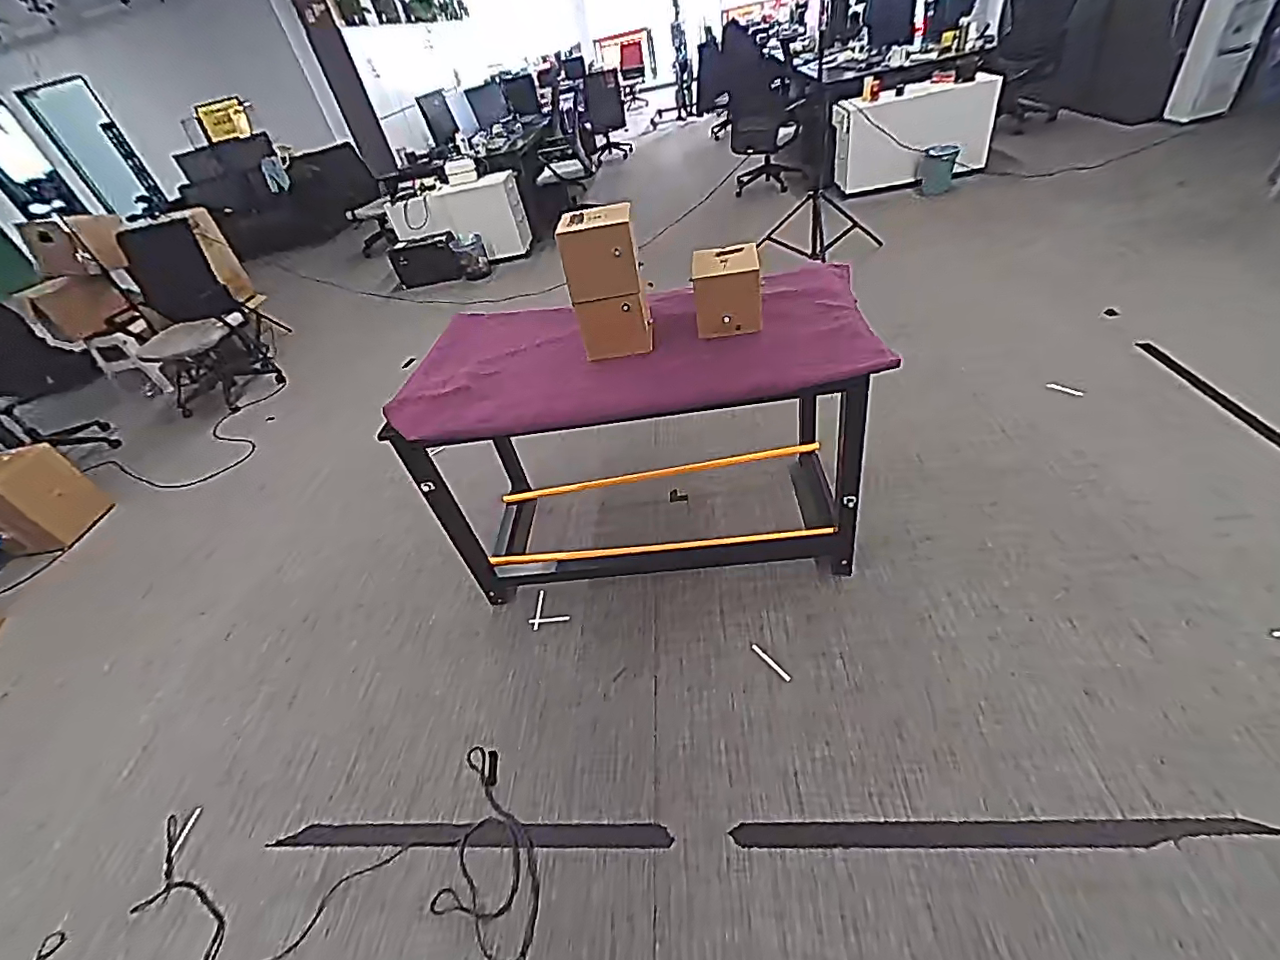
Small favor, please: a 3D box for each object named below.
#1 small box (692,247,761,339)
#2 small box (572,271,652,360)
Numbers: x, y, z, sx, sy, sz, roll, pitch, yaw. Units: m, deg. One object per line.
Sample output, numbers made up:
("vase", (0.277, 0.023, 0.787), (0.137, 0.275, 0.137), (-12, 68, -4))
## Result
("small box", (0.228, -0.490, 1.420), (0.168, 0.176, 0.179), (-5, 42, 11))
("small box", (-0.069, -0.436, 1.446), (0.179, 0.176, 0.168), (-6, 40, 8))
